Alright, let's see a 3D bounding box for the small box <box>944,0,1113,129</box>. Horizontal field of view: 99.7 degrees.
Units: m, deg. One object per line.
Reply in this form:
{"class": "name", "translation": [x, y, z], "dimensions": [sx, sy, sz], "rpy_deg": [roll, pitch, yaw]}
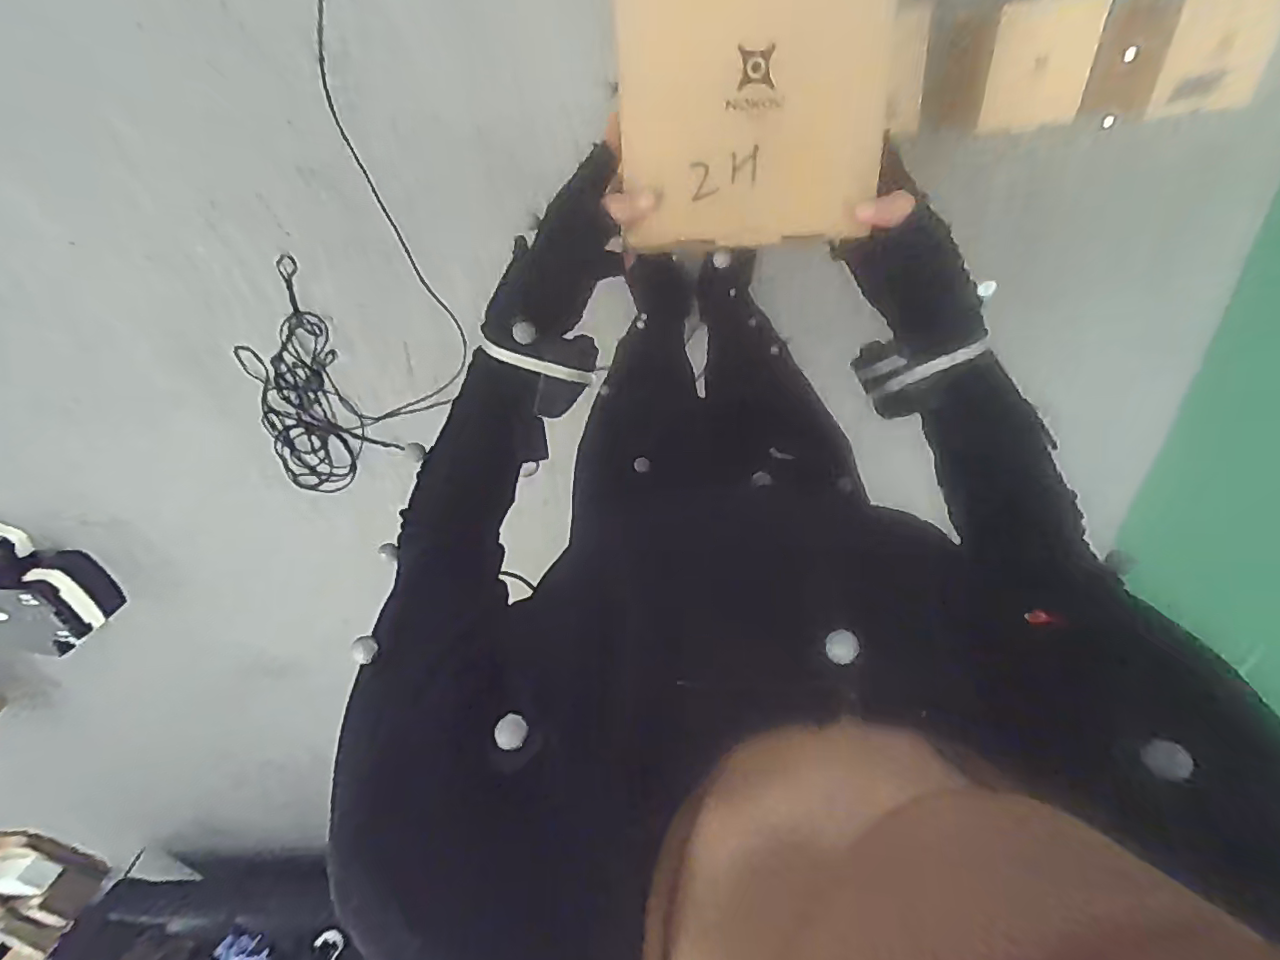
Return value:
{"class": "small box", "translation": [0.662, -0.731, 0.948], "dimensions": [0.168, 0.176, 0.179], "rpy_deg": [-4, 126, 6]}

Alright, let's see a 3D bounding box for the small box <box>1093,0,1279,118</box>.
{"class": "small box", "translation": [0.930, -0.738, 0.924], "dimensions": [0.168, 0.176, 0.179], "rpy_deg": [-4, 125, 7]}
